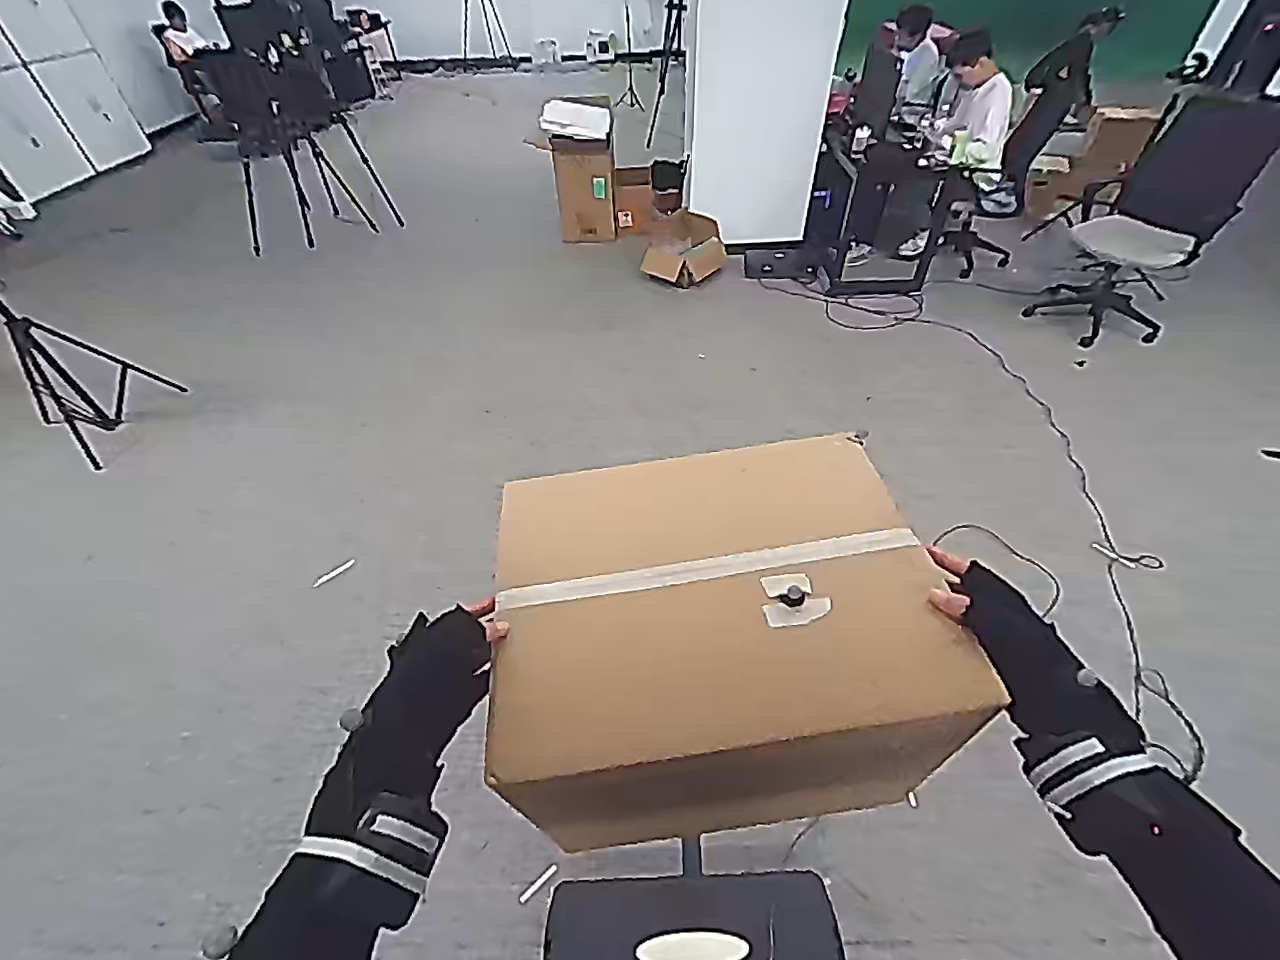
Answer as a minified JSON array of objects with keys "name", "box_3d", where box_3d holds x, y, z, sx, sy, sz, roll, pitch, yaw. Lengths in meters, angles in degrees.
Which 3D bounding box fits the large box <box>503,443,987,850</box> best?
[{"name":"large box","box_3d":[0.078,0.195,0.636,0.408,0.320,0.320,-8,47,-2]}]
